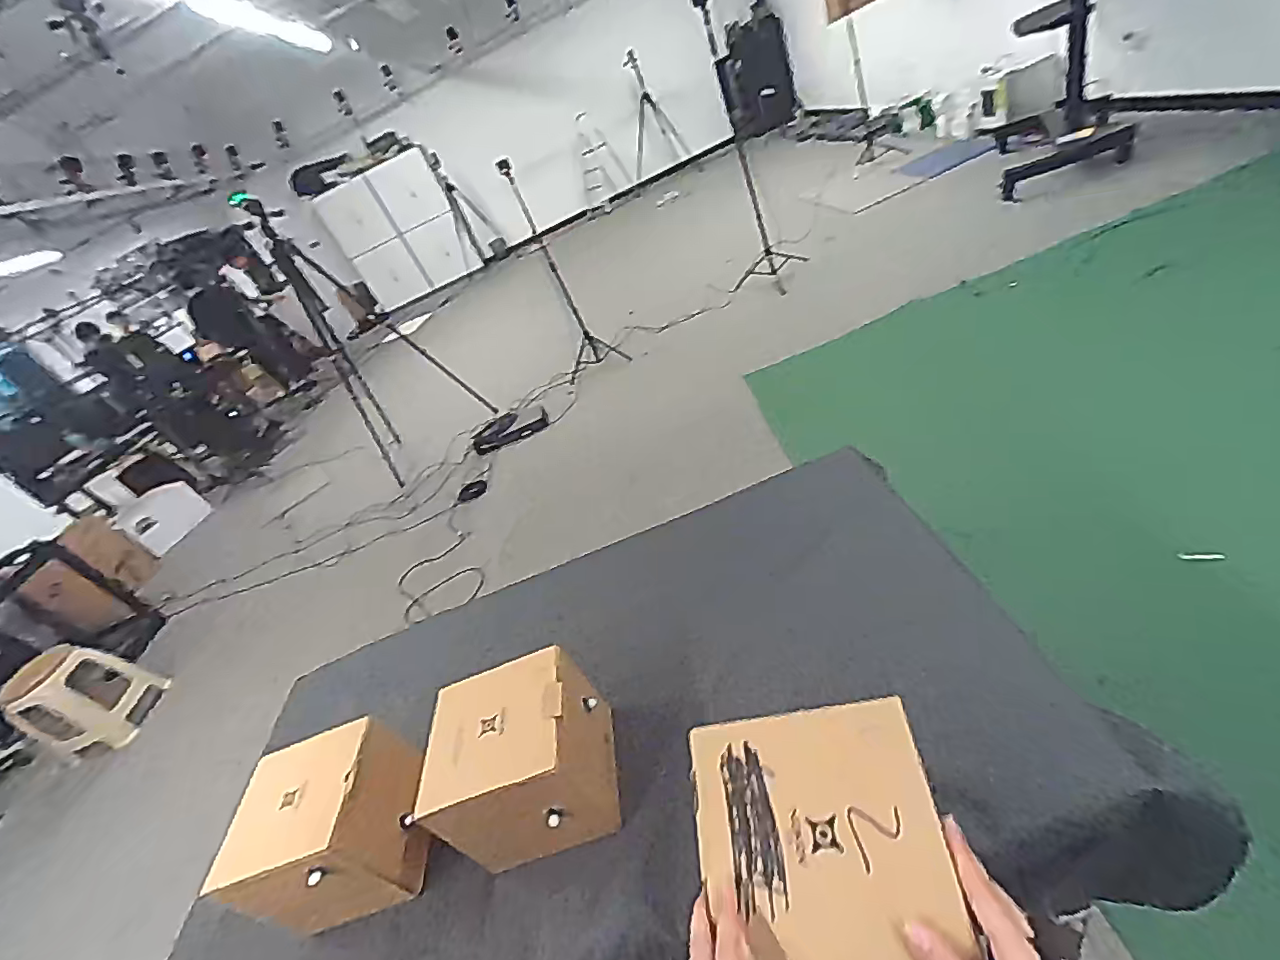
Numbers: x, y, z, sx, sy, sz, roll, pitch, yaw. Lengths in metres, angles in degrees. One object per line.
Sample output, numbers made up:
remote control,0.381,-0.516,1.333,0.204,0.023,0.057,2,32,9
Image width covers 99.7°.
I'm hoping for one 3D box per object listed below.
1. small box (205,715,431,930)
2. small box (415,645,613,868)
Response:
small box,-0.399,0.455,0.716,0.179,0.176,0.168,-23,33,6
small box,-0.142,0.347,0.679,0.179,0.176,0.168,-24,32,7
